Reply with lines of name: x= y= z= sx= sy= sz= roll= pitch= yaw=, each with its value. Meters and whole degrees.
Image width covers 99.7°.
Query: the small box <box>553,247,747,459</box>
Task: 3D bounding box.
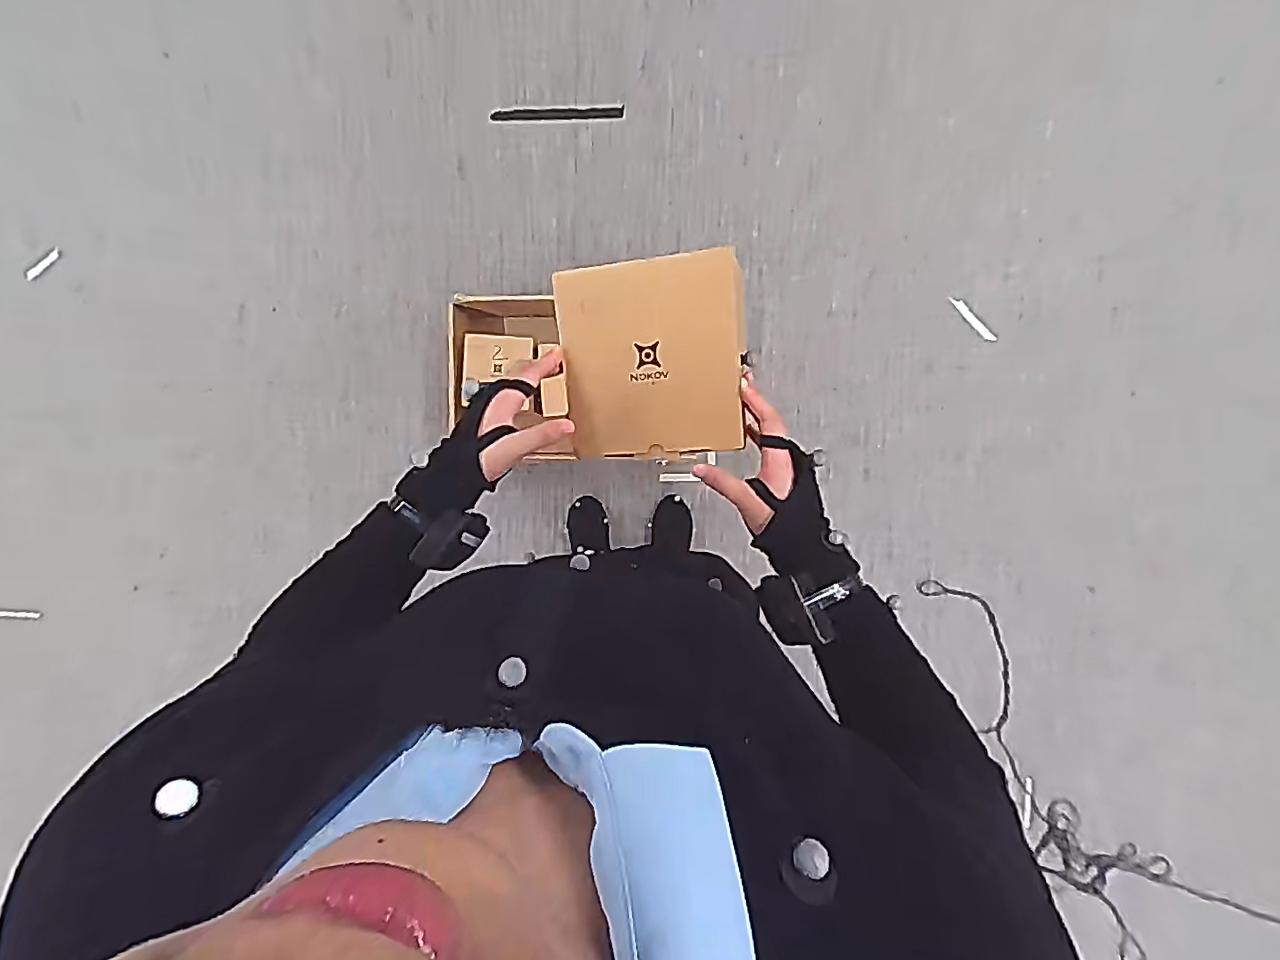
small box: x=0.024 y=-0.125 z=0.561 sx=0.168 sy=0.176 sz=0.179 roll=-3 pitch=103 yaw=13

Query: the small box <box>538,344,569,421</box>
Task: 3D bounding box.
small box: x=-0.154 y=-0.243 z=1.366 sx=0.168 sy=0.176 sz=0.179 roll=-4 pitch=92 yaw=1
